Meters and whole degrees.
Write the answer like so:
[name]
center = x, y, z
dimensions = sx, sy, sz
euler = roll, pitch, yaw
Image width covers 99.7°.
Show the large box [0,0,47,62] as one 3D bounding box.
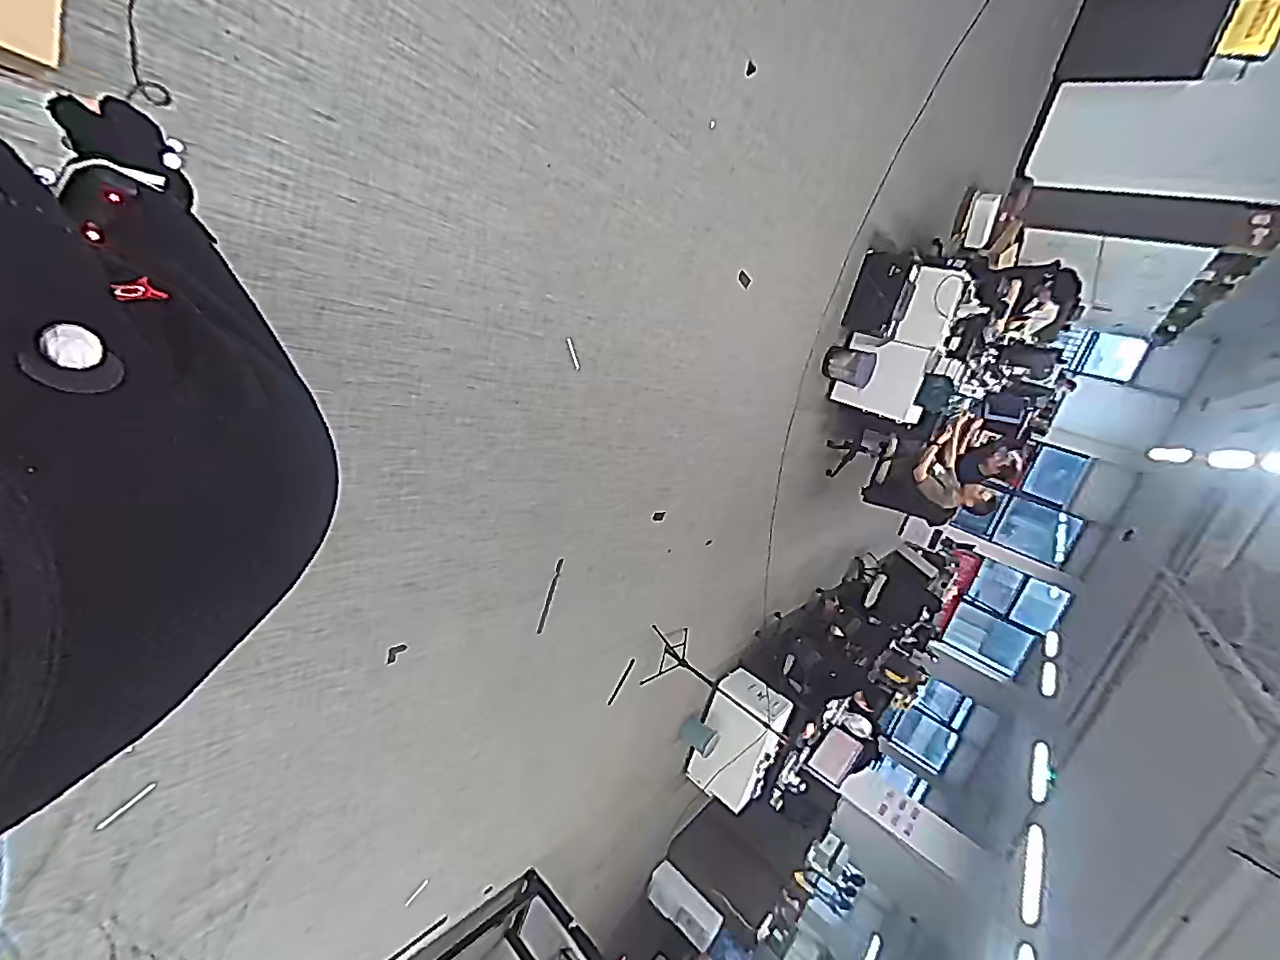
[large box]
center = -0.982, -0.758, 0.613
dimensions = 0.408, 0.320, 0.320
euler = 0, 112, -53
